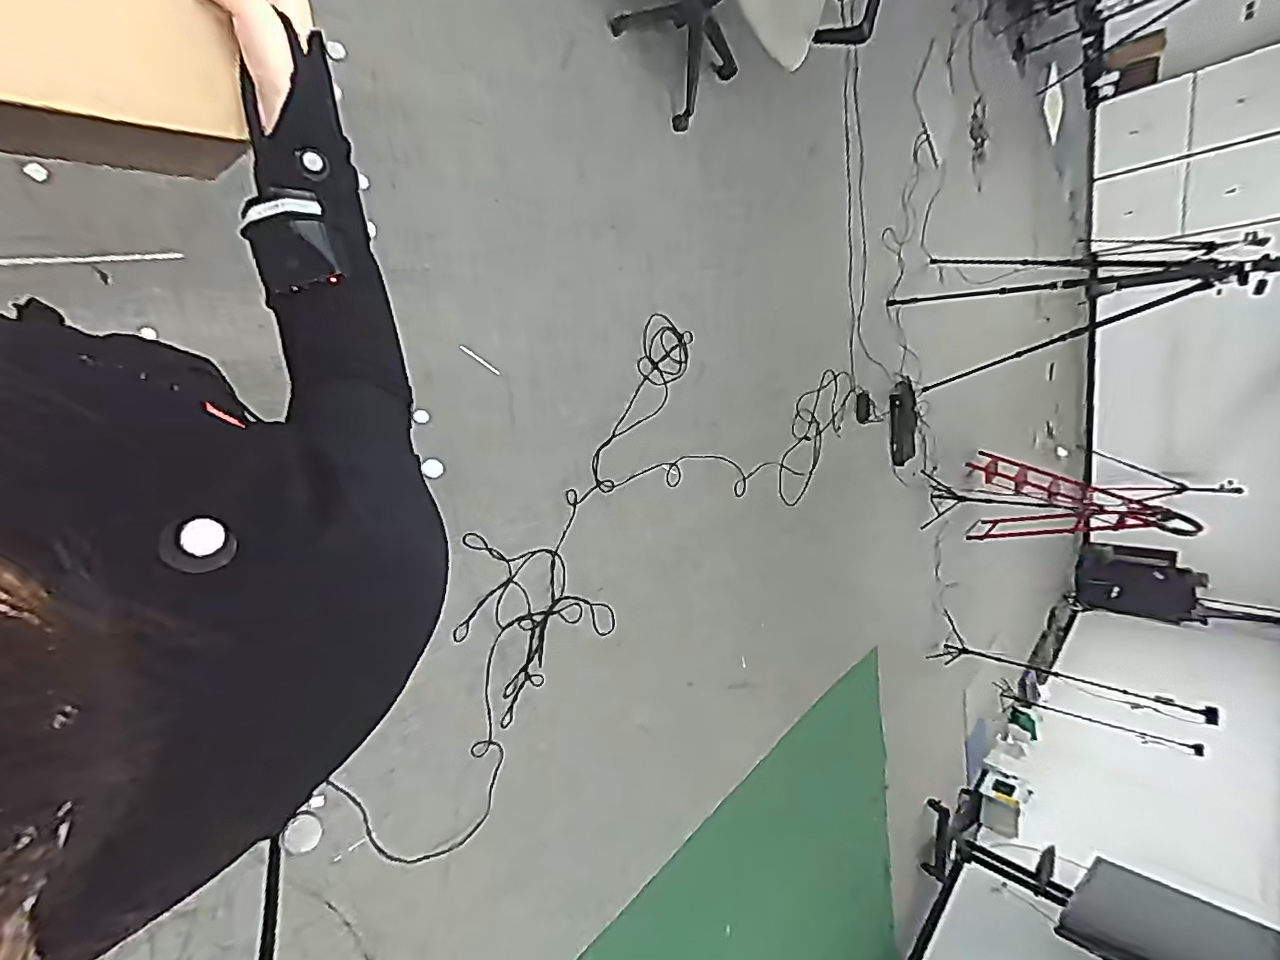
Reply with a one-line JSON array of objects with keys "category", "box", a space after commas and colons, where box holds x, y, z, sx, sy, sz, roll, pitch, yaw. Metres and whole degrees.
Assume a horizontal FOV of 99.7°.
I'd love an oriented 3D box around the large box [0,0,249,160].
[{"category": "large box", "box": [-0.536, -0.417, 0.344, 0.408, 0.320, 0.320, -14, 116, -38]}]
